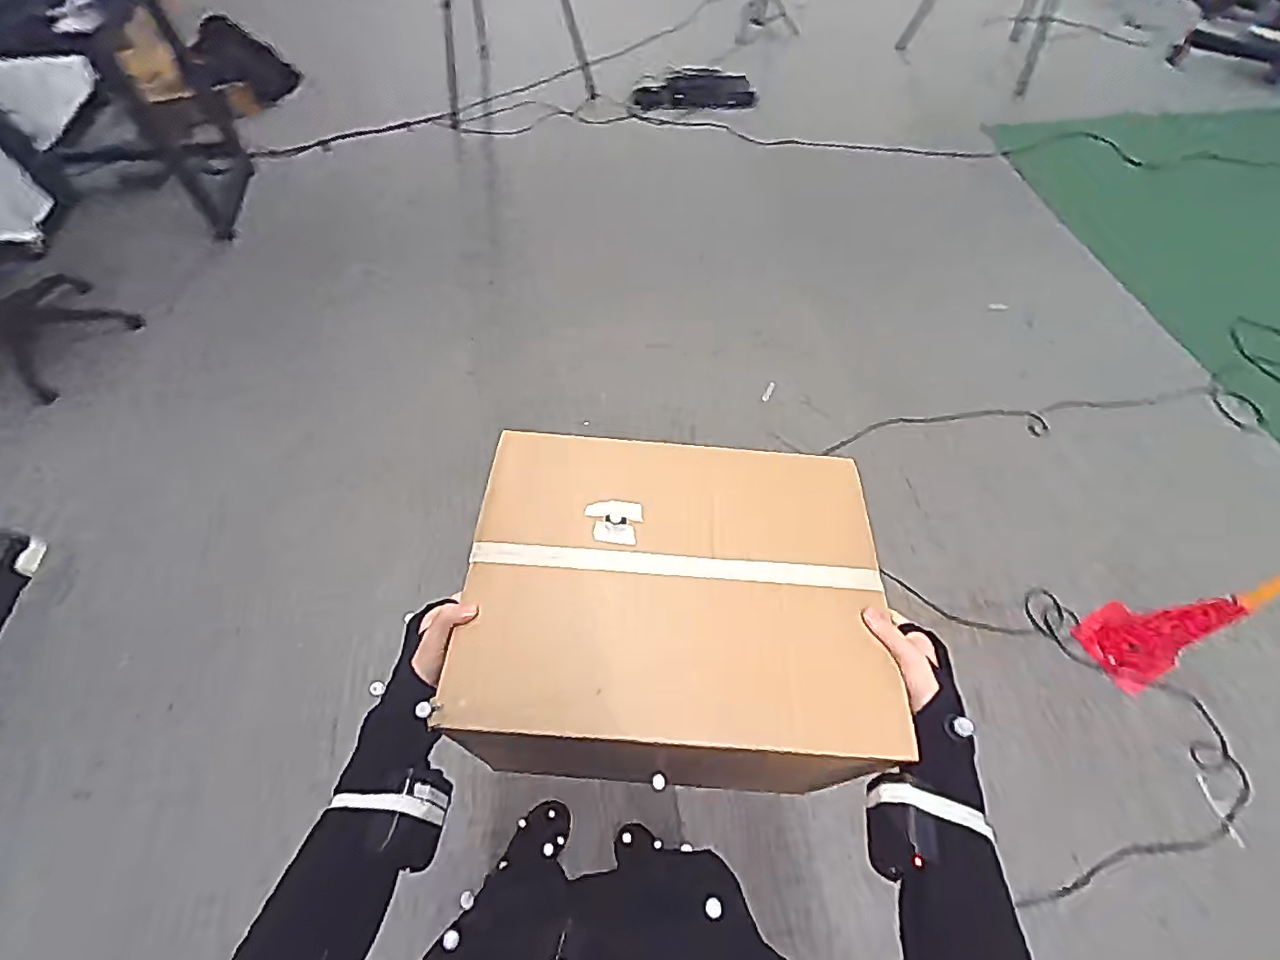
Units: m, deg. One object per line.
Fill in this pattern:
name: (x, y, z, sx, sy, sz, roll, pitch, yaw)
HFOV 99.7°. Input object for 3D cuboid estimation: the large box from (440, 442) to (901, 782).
large box: (0.031, 0.177, 0.665, 0.408, 0.320, 0.320, 5, 55, 0)
